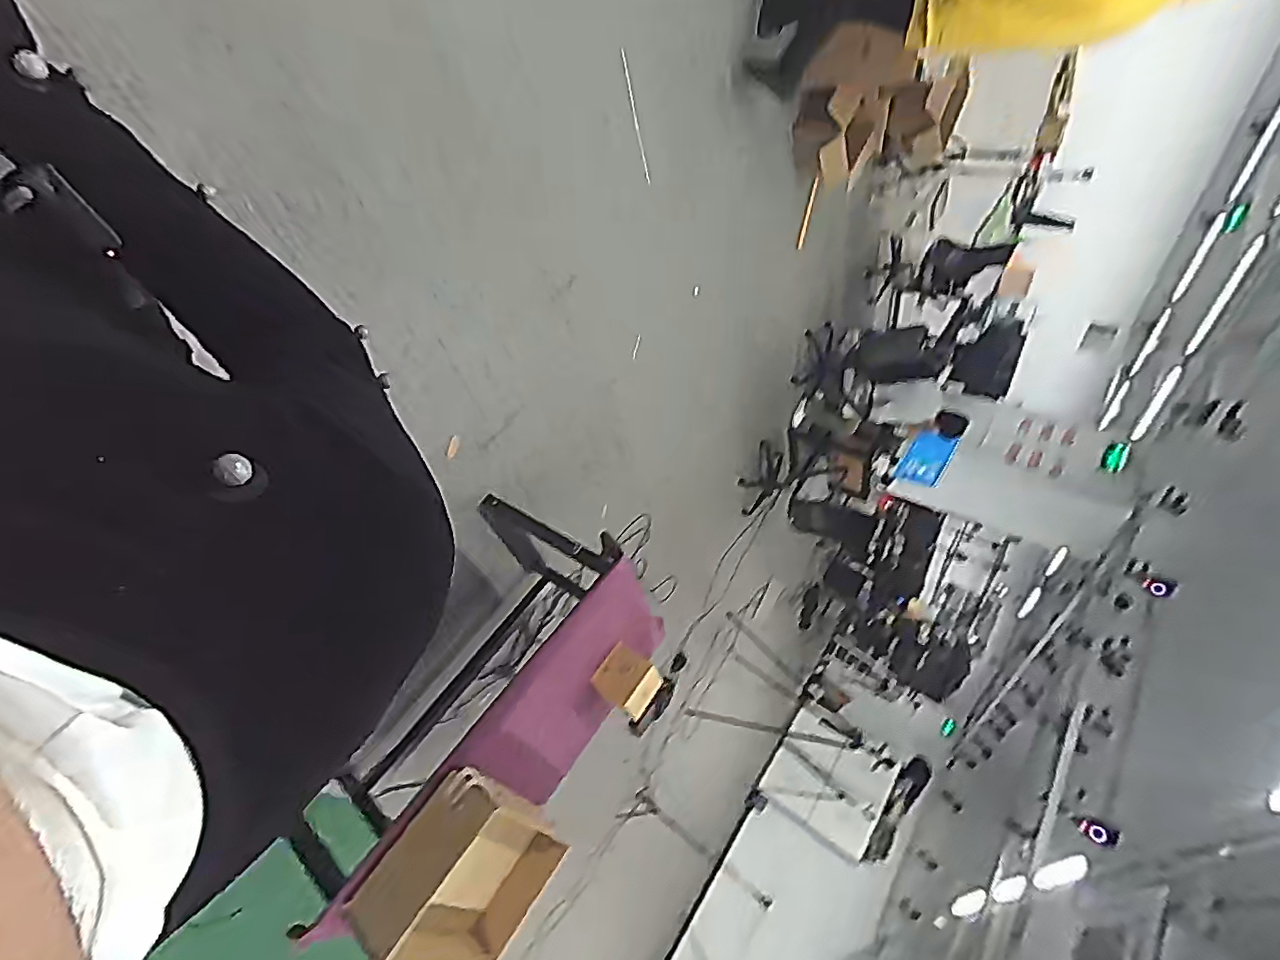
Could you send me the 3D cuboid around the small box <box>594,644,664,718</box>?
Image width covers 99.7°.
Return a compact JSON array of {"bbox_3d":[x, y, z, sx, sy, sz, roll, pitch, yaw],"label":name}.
[{"bbox_3d":[-0.040,0.719,1.949,0.168,0.176,0.179,-51,145,-24],"label":"small box"}]
